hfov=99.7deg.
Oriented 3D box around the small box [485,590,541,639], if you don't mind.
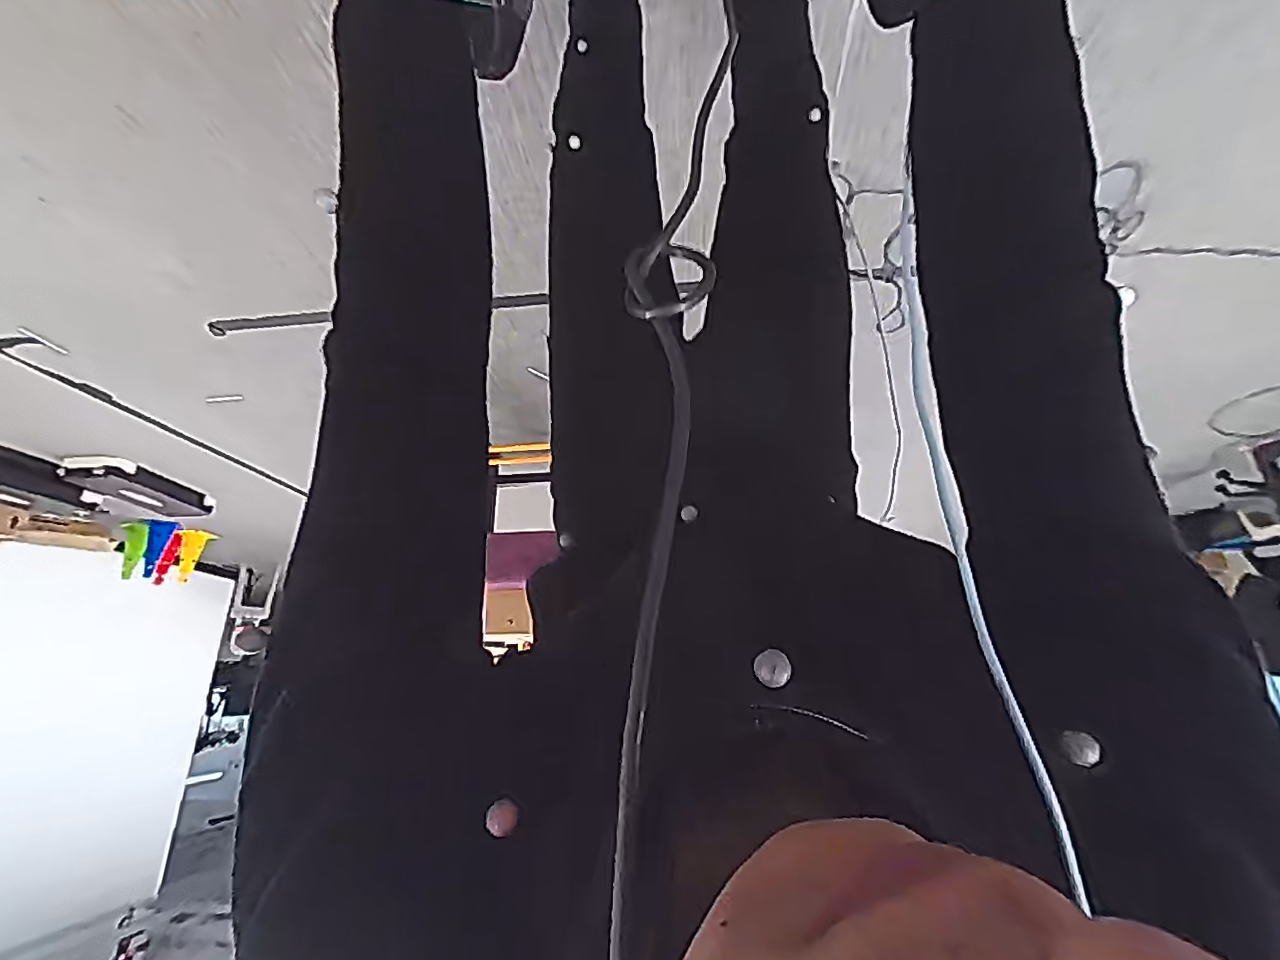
[{"bbox_3d":[-0.492,0.528,2.117,0.179,0.176,0.168,-3,159,5],"label":"small box"}]
